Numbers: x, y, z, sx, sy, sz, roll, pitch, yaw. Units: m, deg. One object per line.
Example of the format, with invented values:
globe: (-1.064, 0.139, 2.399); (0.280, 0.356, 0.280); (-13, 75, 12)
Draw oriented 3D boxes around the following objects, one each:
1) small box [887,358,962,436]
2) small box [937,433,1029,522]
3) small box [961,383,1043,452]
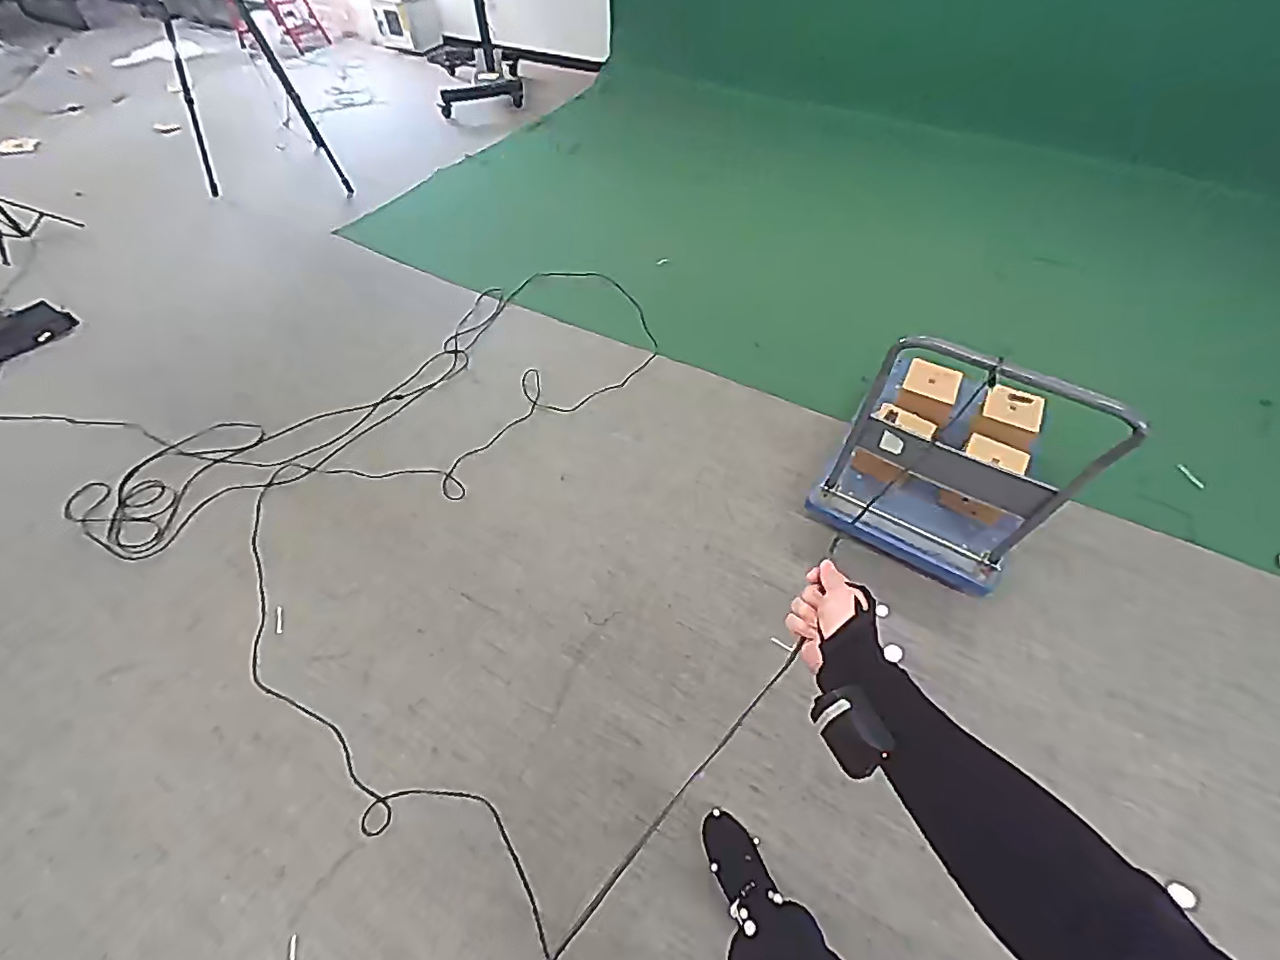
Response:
small box: (0.977, -0.283, 1.872); (0.168, 0.176, 0.179); (25, 57, 17)
small box: (1.048, -0.005, 1.661); (0.168, 0.176, 0.179); (28, 59, 20)
small box: (1.197, -0.186, 1.795); (0.168, 0.176, 0.179); (24, 58, 19)
